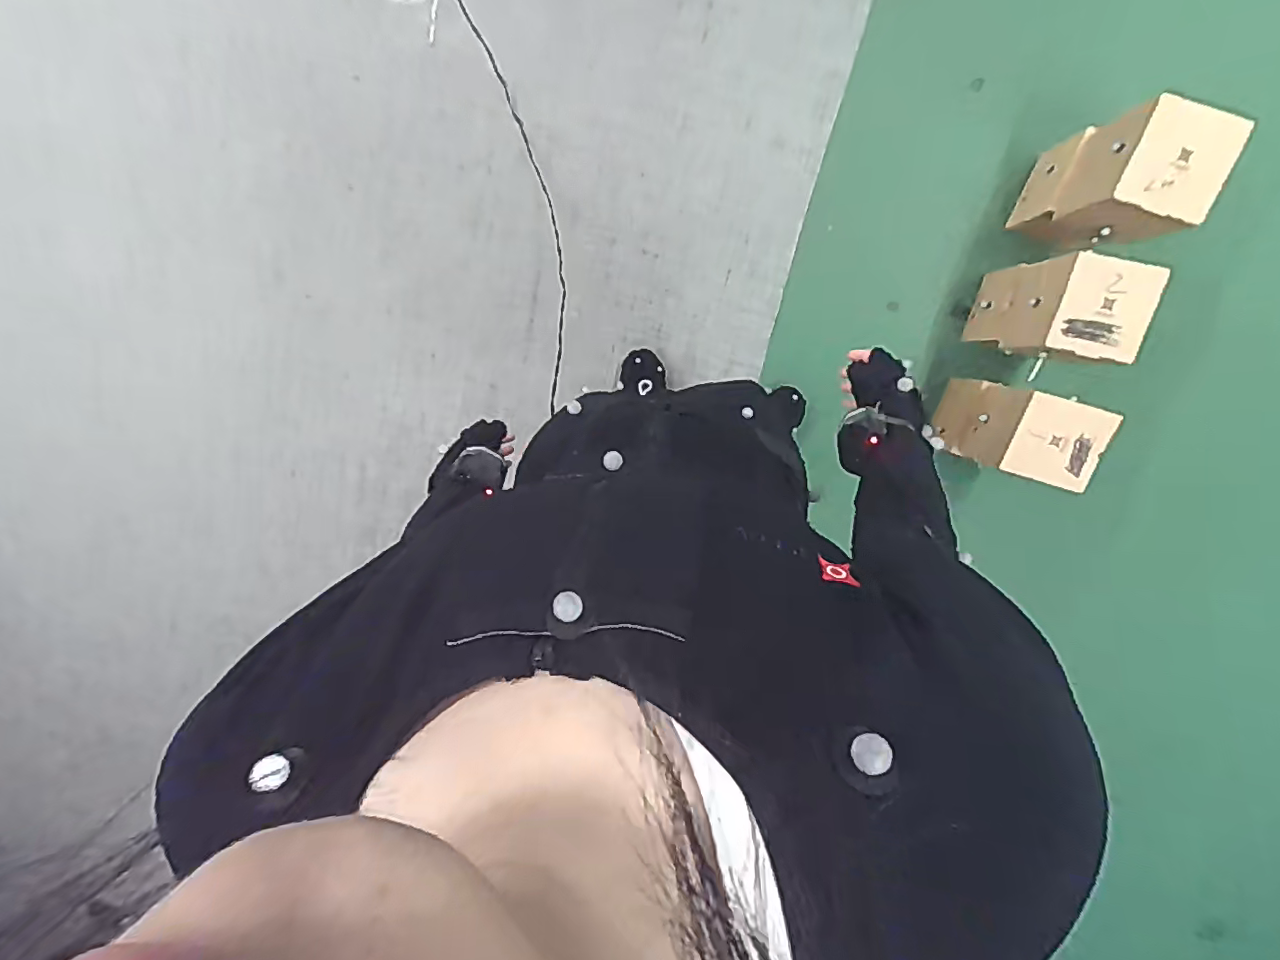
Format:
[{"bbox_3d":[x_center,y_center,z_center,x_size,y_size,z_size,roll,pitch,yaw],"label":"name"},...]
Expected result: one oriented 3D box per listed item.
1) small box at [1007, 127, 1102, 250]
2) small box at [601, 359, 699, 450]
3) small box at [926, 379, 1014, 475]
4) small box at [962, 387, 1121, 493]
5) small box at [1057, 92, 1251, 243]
[{"bbox_3d":[0.952,-0.619,1.174,0.179,0.176,0.168,20,103,1],"label":"small box"},{"bbox_3d":[0.020,-0.197,1.384,0.179,0.176,0.168,33,117,16],"label":"small box"},{"bbox_3d":[0.820,-0.134,1.296,0.168,0.176,0.179,19,103,1],"label":"small box"},{"bbox_3d":[0.827,-0.092,1.136,0.179,0.176,0.168,17,104,2],"label":"small box"},{"bbox_3d":[0.943,-0.572,1.016,0.168,0.176,0.179,20,103,1],"label":"small box"}]
